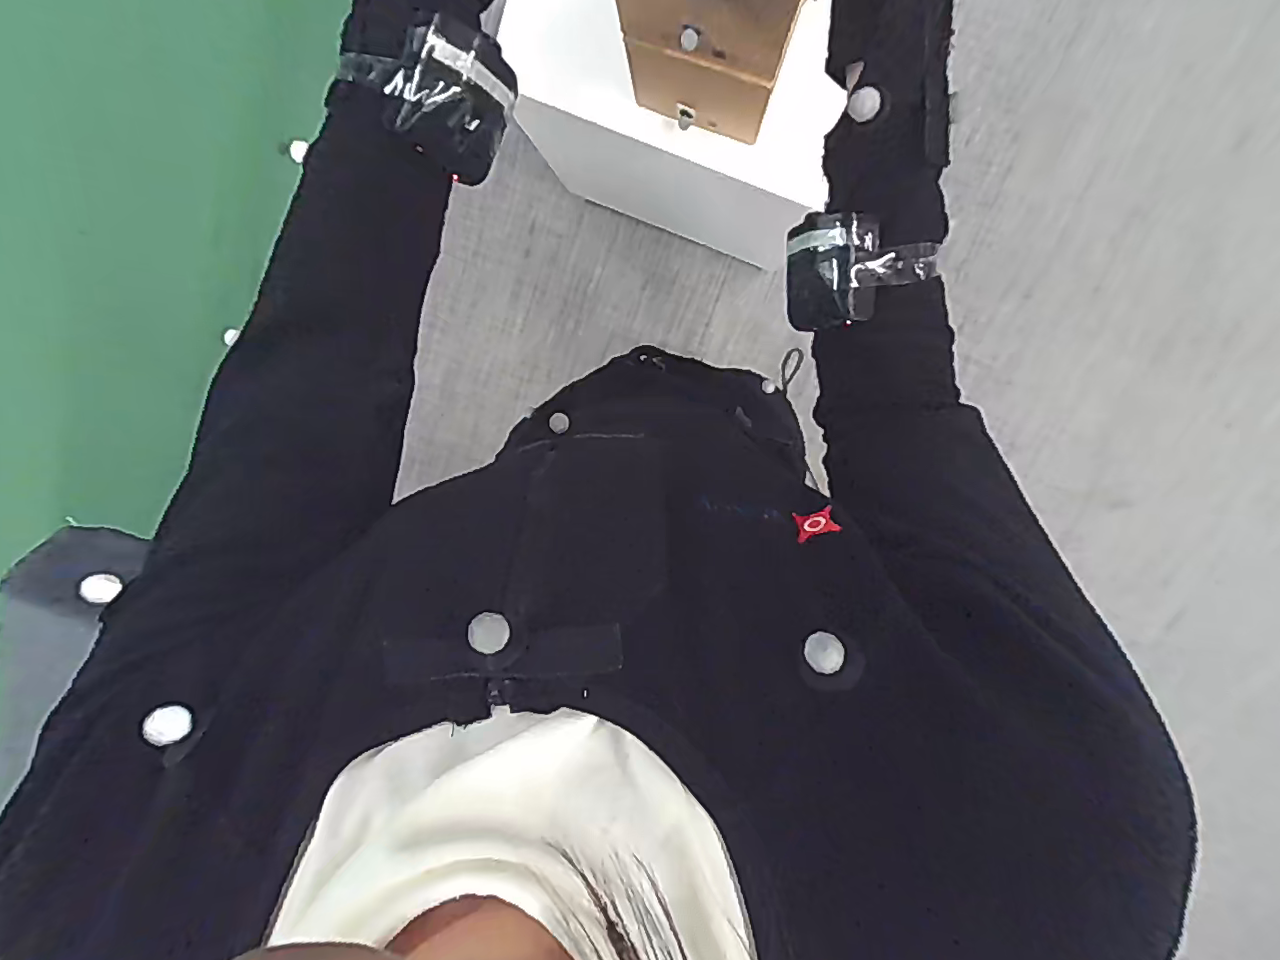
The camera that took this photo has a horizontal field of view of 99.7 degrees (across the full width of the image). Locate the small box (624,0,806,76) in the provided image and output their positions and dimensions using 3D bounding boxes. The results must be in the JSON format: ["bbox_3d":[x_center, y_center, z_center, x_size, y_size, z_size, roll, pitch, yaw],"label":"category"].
[{"bbox_3d":[0.077,-0.485,0.442,0.168,0.176,0.179,16,103,2],"label":"small box"}]

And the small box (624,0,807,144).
[{"bbox_3d":[0.093,-0.517,0.602,0.168,0.176,0.179,19,106,2],"label":"small box"}]
